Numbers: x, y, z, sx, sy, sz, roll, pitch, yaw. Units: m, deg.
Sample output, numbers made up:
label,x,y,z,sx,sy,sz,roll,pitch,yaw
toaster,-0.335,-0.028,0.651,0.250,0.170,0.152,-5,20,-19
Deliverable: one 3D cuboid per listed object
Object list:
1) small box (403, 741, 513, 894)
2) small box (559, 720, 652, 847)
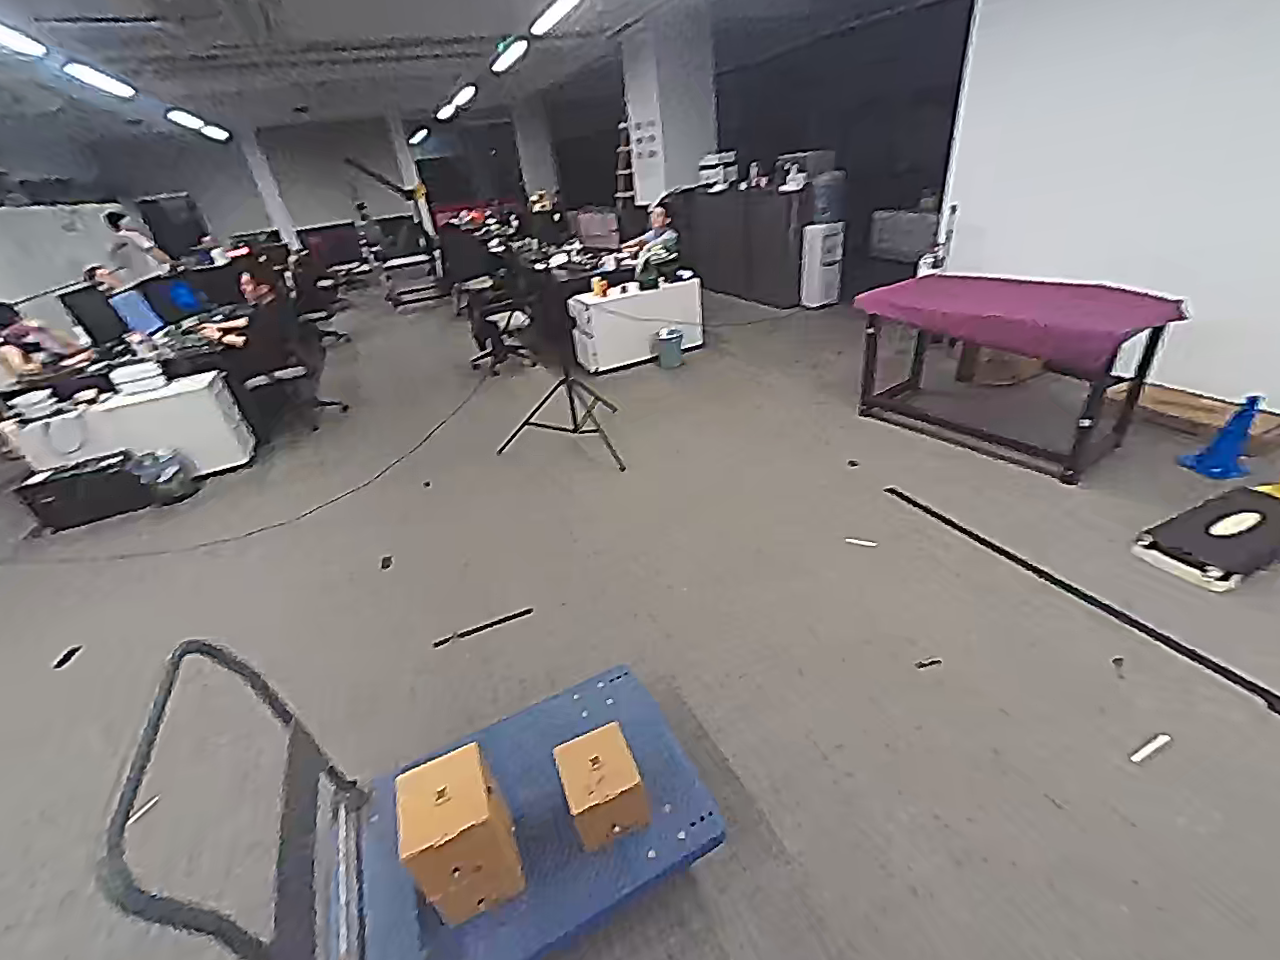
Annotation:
label,x,y,z,sx,sy,sz,roll,pitch,yaw
small box,-0.371,0.686,1.103,0.168,0.176,0.179,-18,33,-18
small box,-0.083,0.724,1.294,0.168,0.176,0.179,-18,32,-15
